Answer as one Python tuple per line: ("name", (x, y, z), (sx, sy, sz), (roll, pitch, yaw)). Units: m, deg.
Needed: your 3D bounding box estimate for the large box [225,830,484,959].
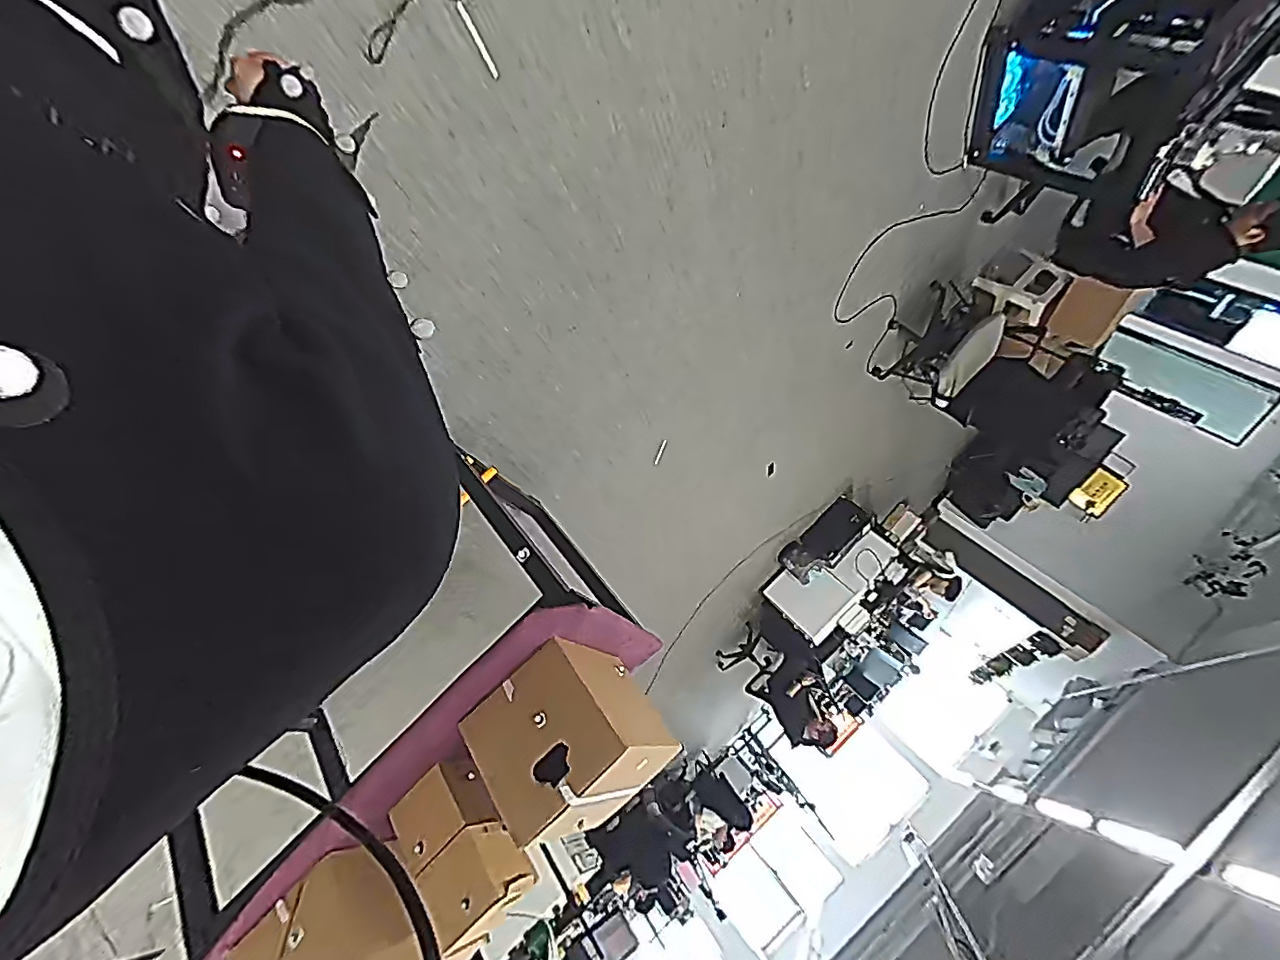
("large box", (-0.672, 1.124, 1.310), (0.320, 0.320, 0.408), (-44, 149, -3))
